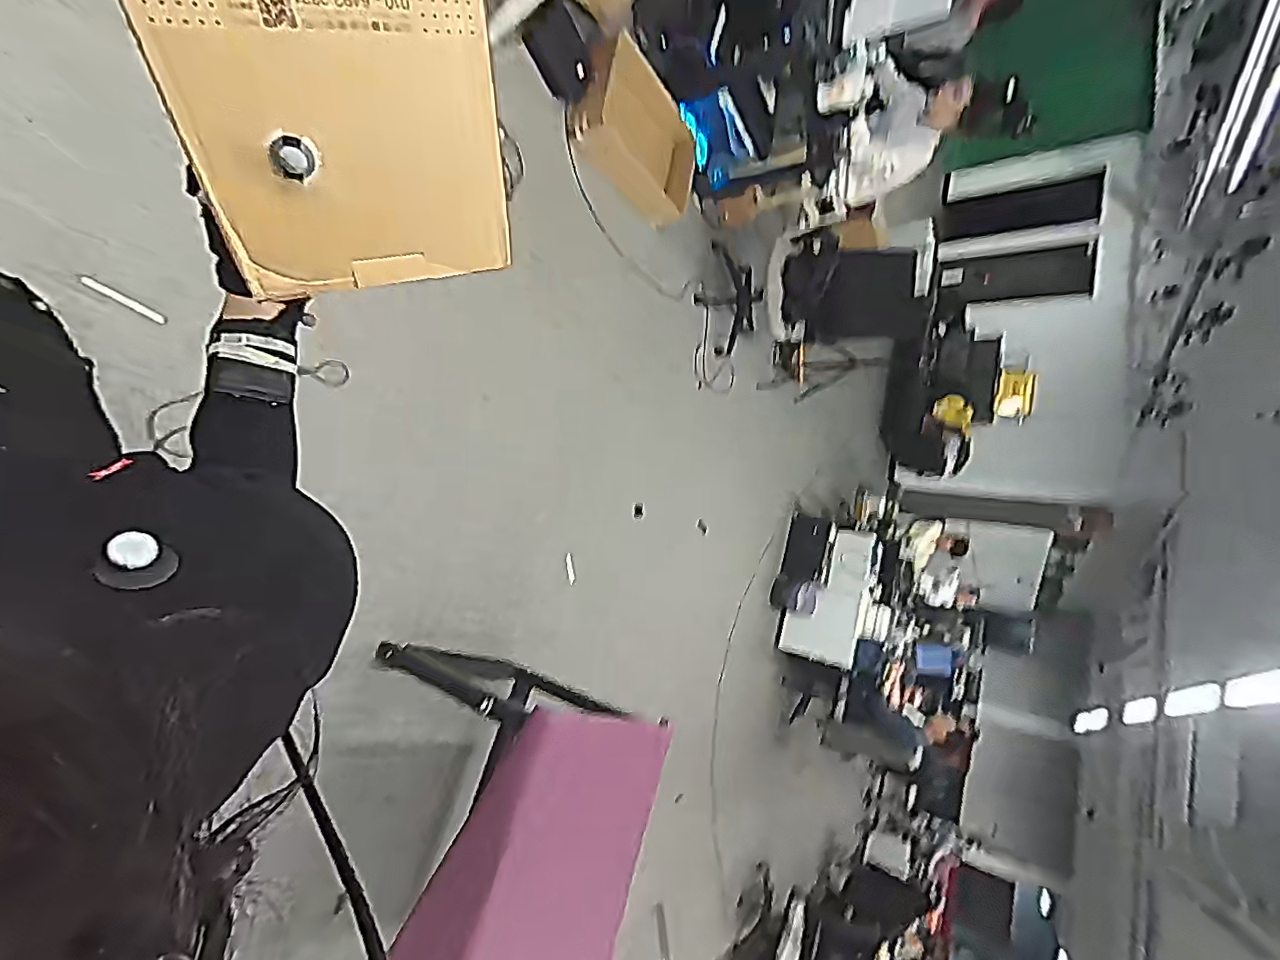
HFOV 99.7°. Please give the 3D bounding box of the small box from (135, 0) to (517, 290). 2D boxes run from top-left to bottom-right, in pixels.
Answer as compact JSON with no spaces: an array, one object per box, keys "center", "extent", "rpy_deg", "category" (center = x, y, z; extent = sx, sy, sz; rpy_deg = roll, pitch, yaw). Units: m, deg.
[{"center":[-0.195,-0.248,0.353],"extent":[0.168,0.179,0.176],"rpy_deg":[-18,136,-24],"category":"small box"}]
